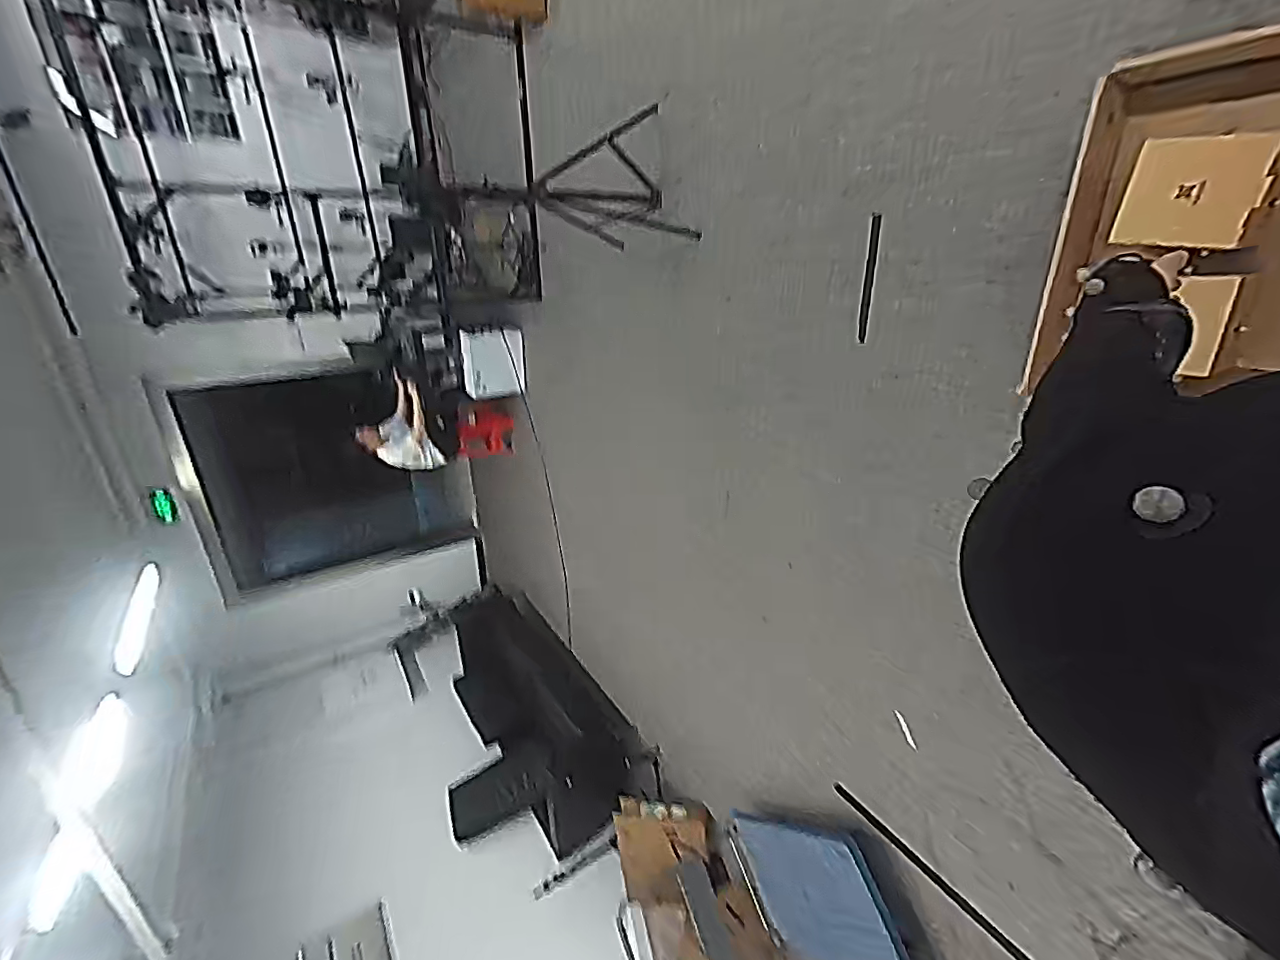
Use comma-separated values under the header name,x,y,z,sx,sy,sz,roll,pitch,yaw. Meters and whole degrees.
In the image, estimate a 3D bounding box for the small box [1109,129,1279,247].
name,x,y,z,sx,sy,sz,roll,pitch,yaw
small box,0.984,-0.501,0.941,0.179,0.176,0.168,35,132,47

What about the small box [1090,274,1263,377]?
name,x,y,z,sx,sy,sz,roll,pitch,yaw
small box,0.997,-0.294,1.007,0.179,0.176,0.168,27,123,52
